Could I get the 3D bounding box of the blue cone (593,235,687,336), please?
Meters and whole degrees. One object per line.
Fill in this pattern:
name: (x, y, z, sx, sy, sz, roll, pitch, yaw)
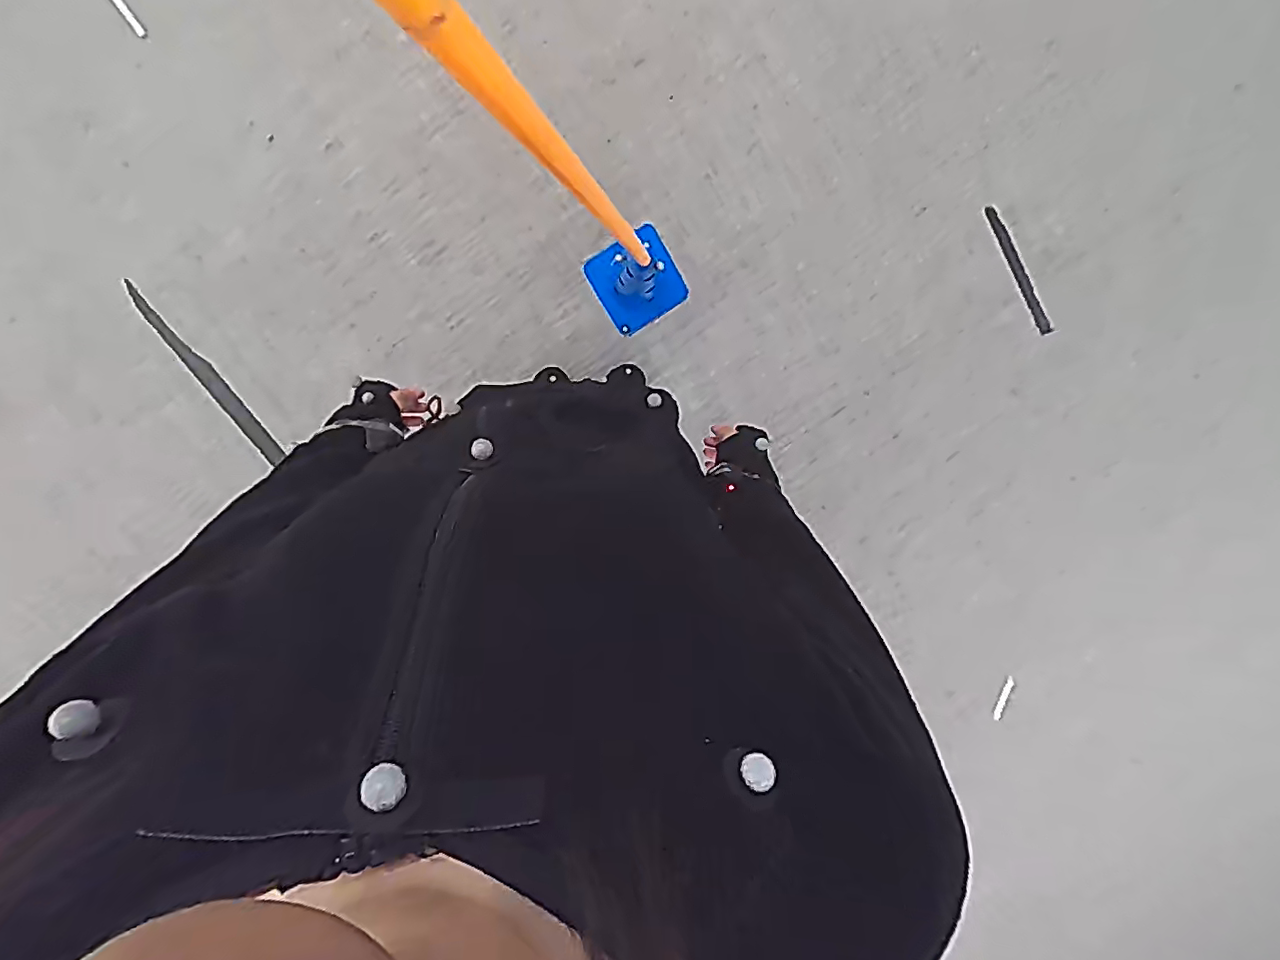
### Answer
blue cone: (0.008, -0.433, 1.156, 0.193, 0.380, 0.192, -29, 104, 4)
